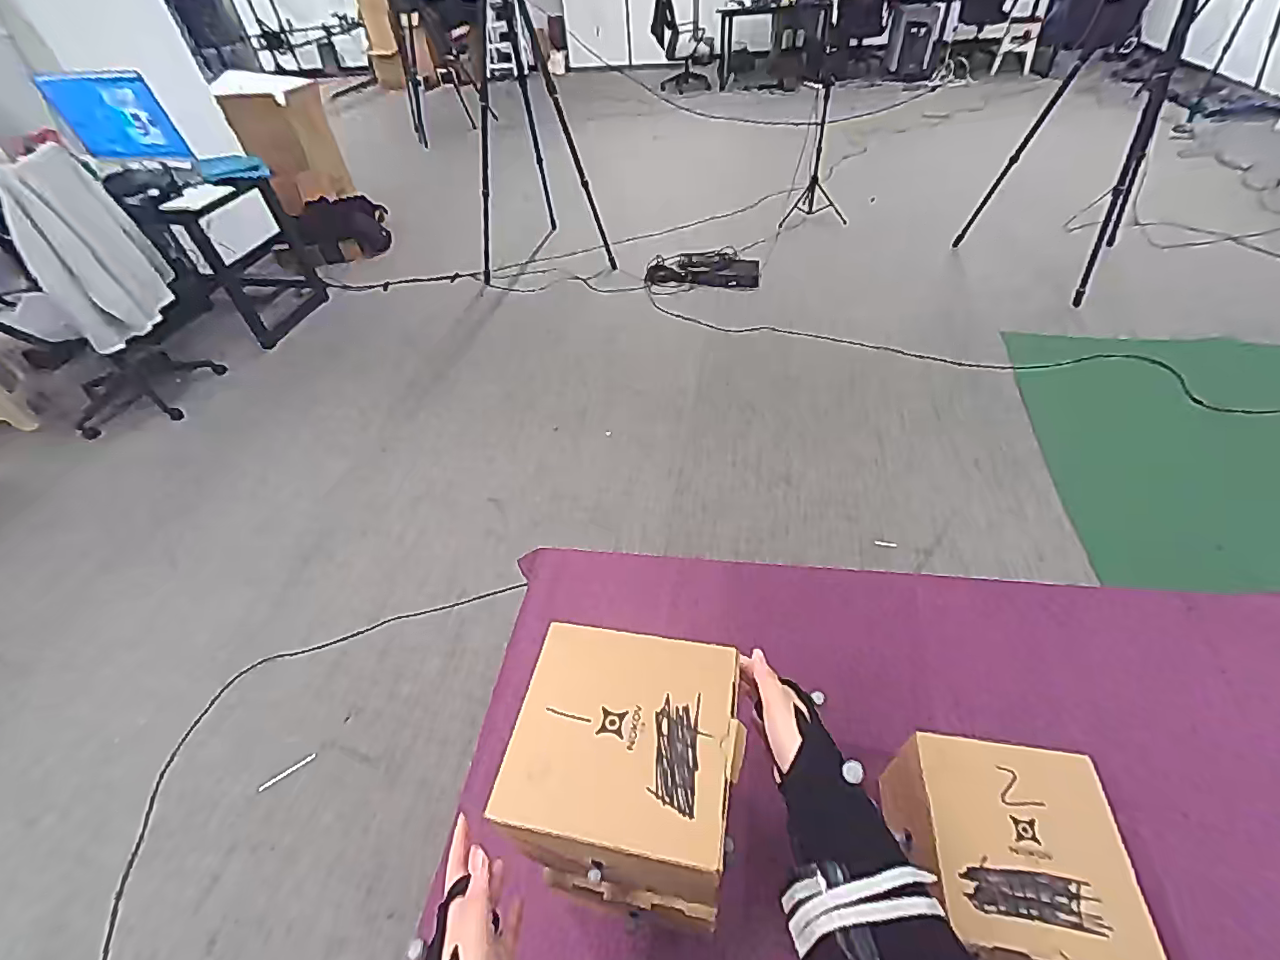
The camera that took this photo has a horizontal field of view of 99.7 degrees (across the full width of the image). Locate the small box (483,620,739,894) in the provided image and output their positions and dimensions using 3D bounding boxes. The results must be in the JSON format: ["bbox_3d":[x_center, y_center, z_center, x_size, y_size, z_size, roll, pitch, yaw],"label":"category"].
[{"bbox_3d":[-0.010,0.253,0.493,0.179,0.176,0.168,6,47,11],"label":"small box"}]

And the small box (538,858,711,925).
[{"bbox_3d":[0.004,0.372,0.608,0.168,0.176,0.179,6,48,10],"label":"small box"}]
